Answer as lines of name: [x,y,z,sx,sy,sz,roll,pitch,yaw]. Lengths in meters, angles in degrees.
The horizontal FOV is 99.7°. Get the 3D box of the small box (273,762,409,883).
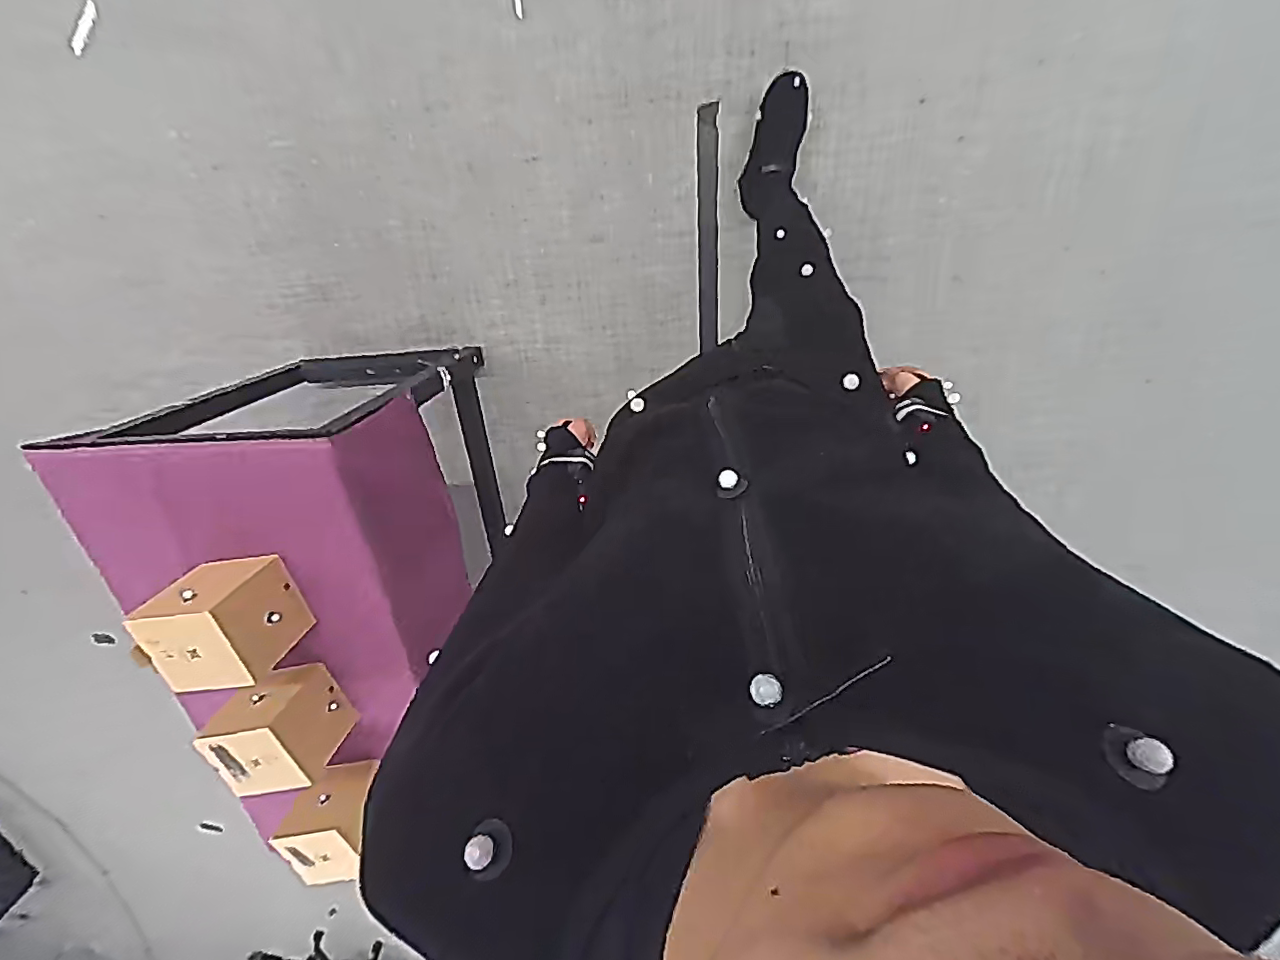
small box: [-0.671,0.778,1.236,0.179,0.176,0.168,-14,113,12]

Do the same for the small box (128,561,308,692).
small box: [-0.754,0.264,0.995,0.179,0.176,0.168,-7,114,10]
